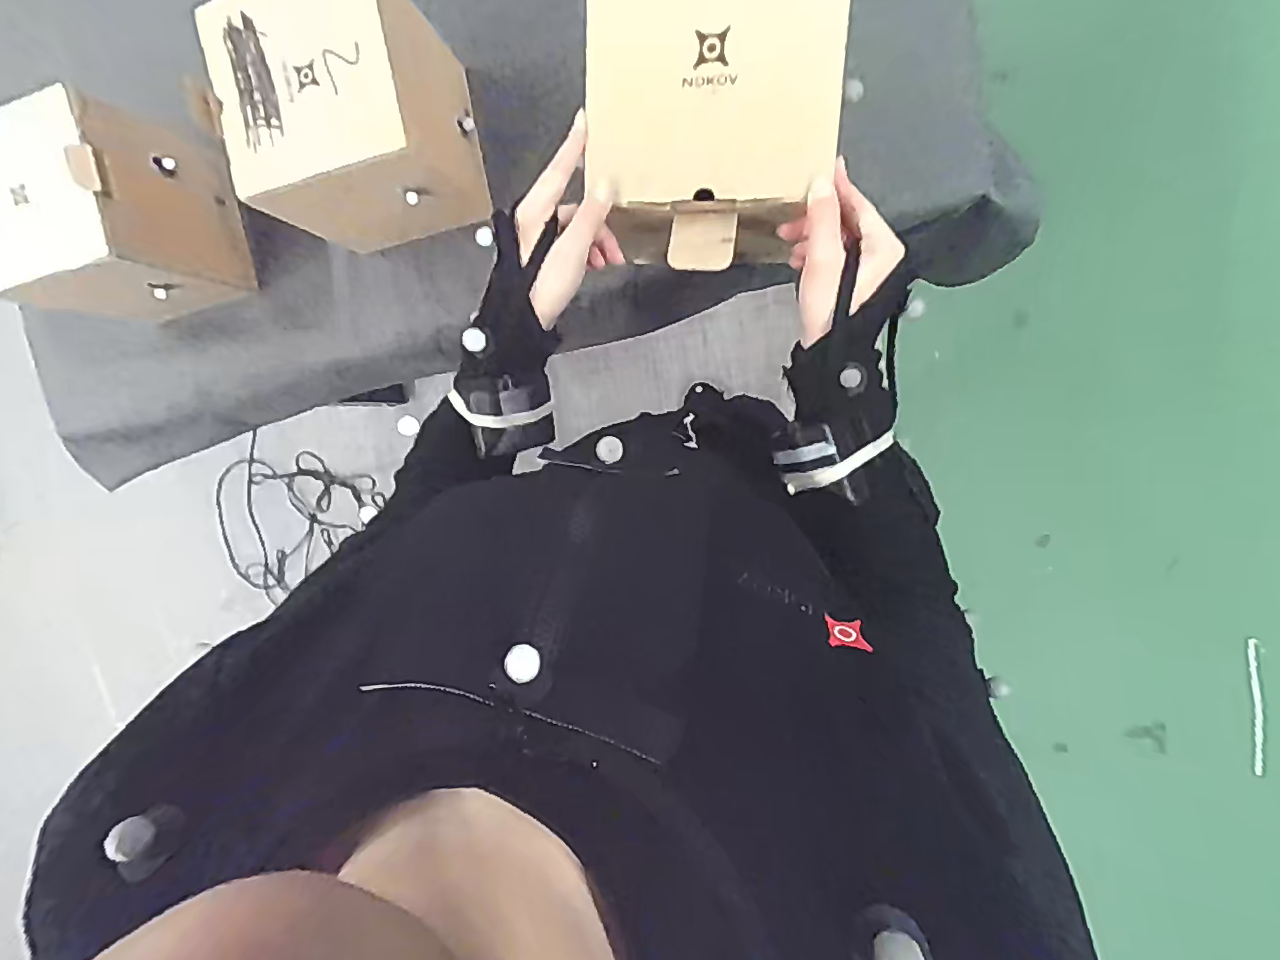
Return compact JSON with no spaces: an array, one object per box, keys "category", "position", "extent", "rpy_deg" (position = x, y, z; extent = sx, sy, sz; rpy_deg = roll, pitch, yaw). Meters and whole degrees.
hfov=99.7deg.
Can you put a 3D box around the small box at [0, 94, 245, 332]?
[{"category":"small box","position":[-0.588,-0.278,0.608],"extent":[0.179,0.176,0.168],"rpy_deg":[-11,93,12]}]

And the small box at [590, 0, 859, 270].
[{"category":"small box","position":[0.063,-0.273,0.422],"extent":[0.168,0.176,0.179],"rpy_deg":[4,101,10]}]
